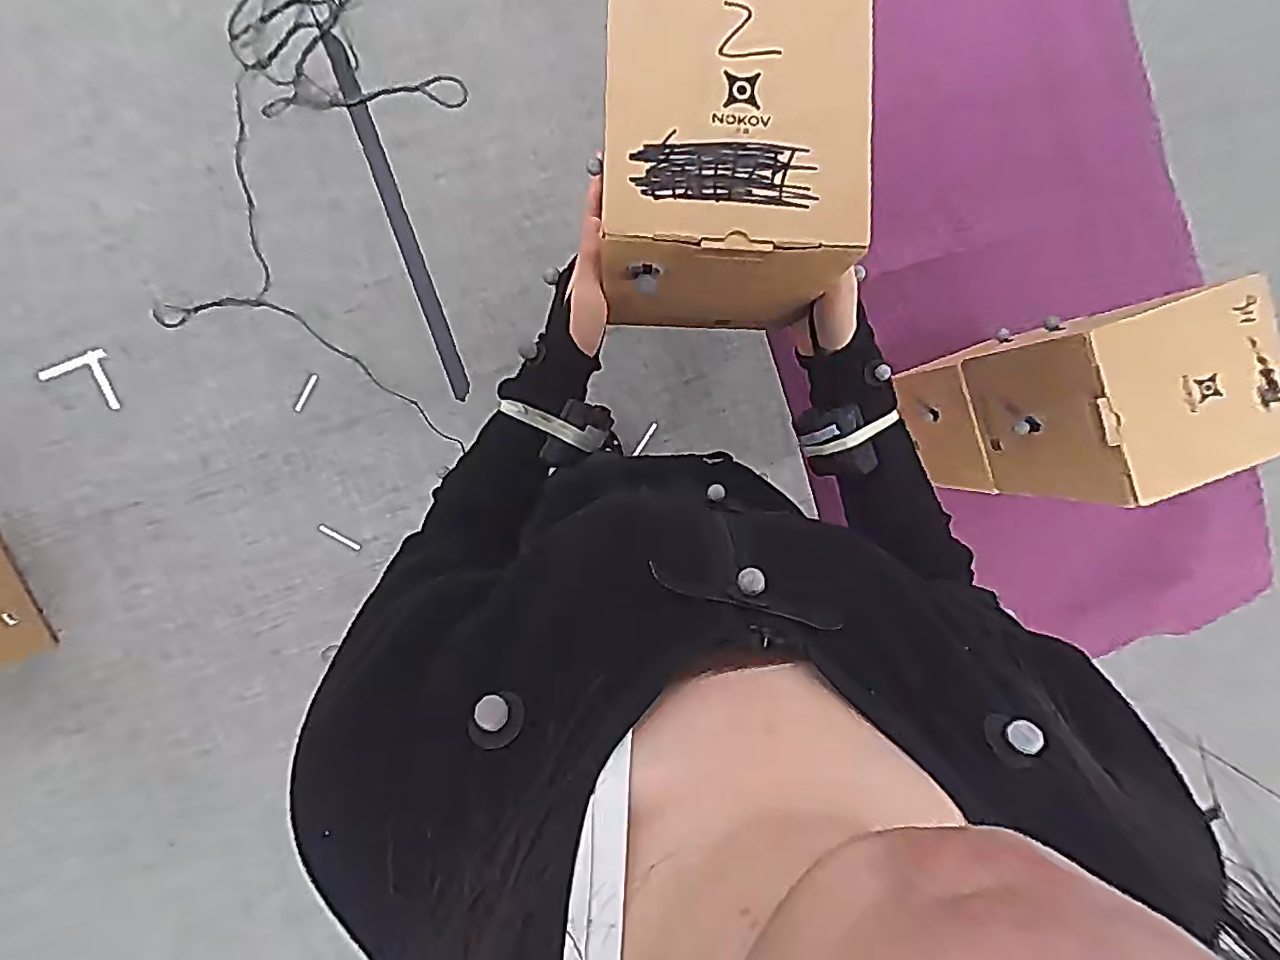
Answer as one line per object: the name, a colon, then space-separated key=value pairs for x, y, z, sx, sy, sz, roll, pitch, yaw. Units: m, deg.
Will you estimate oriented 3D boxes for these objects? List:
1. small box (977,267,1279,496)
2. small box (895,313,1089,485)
small box: x=0.488 y=-0.090 z=0.559 sx=0.179 sy=0.176 sz=0.168 roll=-19 pitch=95 yaw=-3
small box: x=0.471 y=-0.099 z=0.722 sx=0.179 sy=0.176 sz=0.168 roll=-20 pitch=95 yaw=-3
